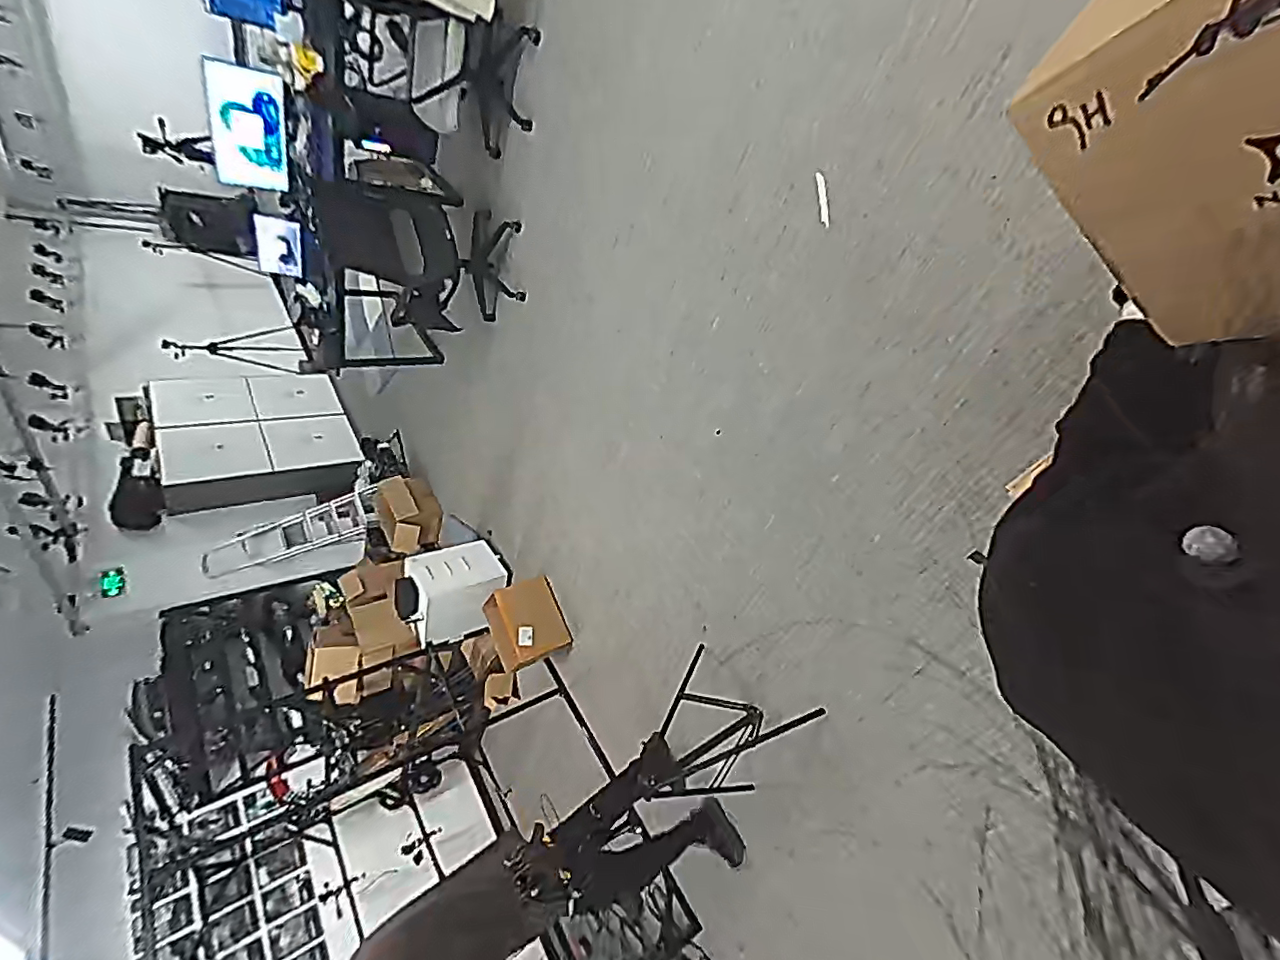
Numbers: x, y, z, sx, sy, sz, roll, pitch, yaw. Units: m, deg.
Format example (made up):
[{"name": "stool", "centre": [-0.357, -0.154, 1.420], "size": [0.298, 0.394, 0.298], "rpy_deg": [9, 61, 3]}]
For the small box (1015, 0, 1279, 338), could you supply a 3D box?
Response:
[{"name": "small box", "centre": [0.316, -0.188, 0.214], "size": [0.179, 0.176, 0.168], "rpy_deg": [41, 175, -14]}]
